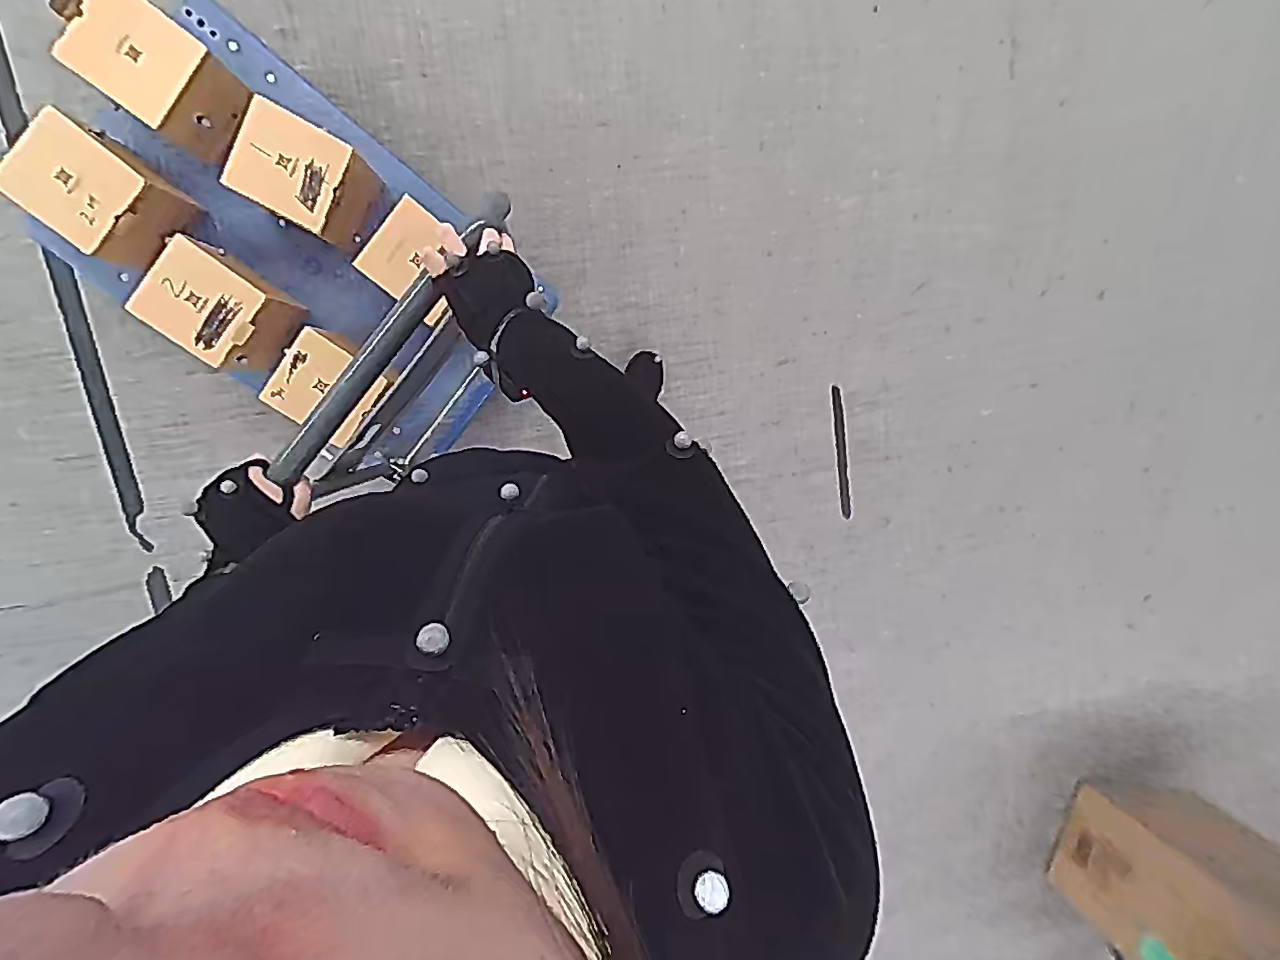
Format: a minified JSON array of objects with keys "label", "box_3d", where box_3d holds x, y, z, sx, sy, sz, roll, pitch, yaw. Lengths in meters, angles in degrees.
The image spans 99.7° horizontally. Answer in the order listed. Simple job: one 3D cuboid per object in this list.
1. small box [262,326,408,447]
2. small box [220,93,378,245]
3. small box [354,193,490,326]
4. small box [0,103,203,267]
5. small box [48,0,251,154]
[{"label":"small box","box_3d":[-0.601,-0.190,1.096,0.179,0.176,0.168,34,92,-14]},{"label":"small box","box_3d":[-0.628,-0.568,1.022,0.179,0.176,0.168,25,95,-12]},{"label":"small box","box_3d":[-0.421,-0.427,1.084,0.179,0.176,0.168,38,92,-13]},{"label":"small box","box_3d":[-0.962,-0.513,0.975,0.179,0.176,0.168,40,92,-15]},{"label":"small box","box_3d":[-0.847,-0.717,0.958,0.179,0.176,0.168,35,94,-13]}]
